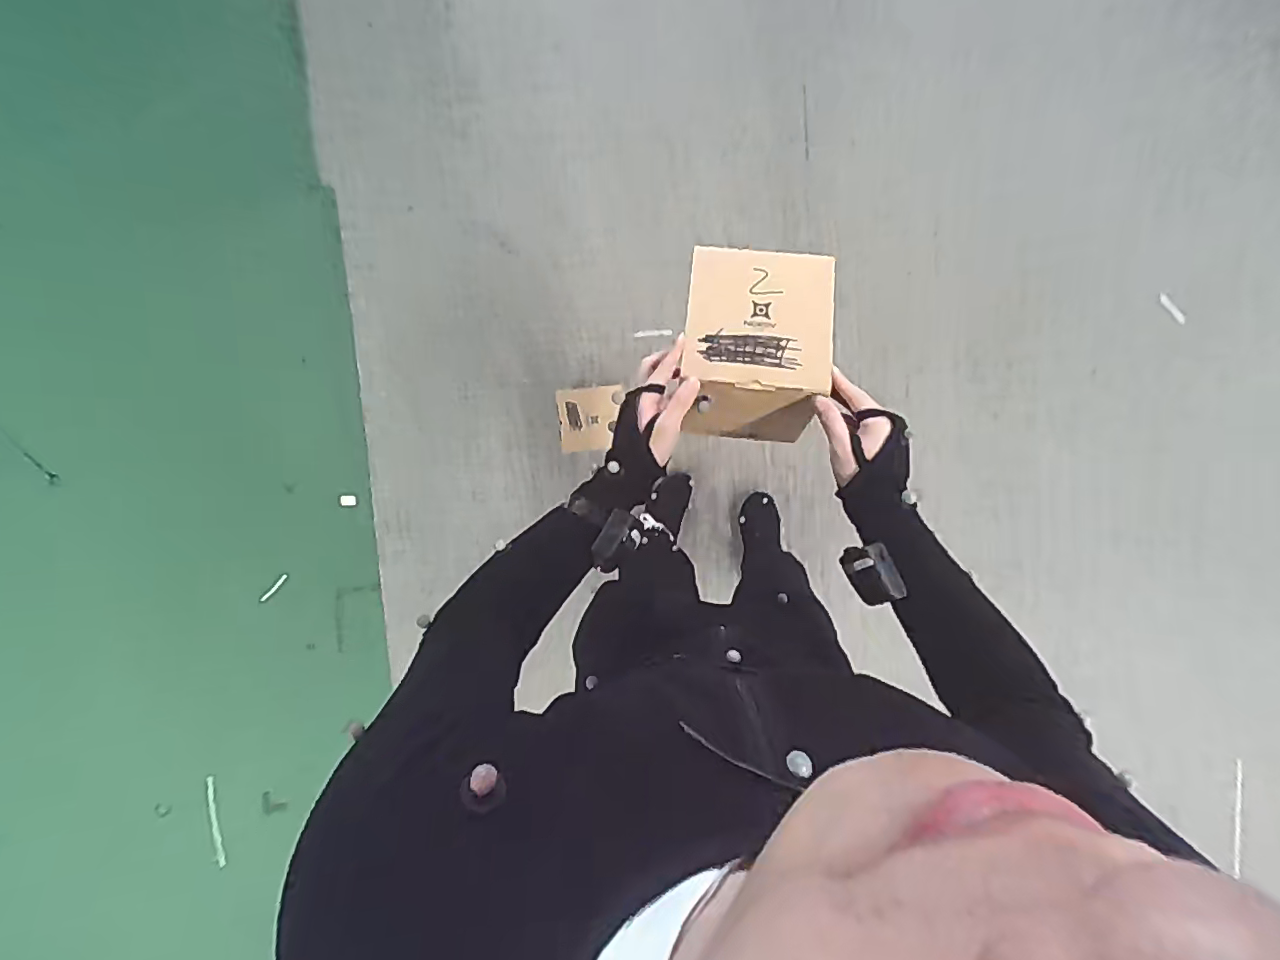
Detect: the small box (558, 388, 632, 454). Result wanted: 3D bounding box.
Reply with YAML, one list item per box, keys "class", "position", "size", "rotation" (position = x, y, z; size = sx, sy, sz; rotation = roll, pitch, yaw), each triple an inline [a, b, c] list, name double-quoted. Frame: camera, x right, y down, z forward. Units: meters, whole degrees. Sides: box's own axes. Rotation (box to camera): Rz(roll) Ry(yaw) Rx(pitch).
- class: "small box"
  position: [-0.118, -0.159, 1.485]
  size: [0.179, 0.176, 0.168]
  rotation: [-5, 95, 2]
